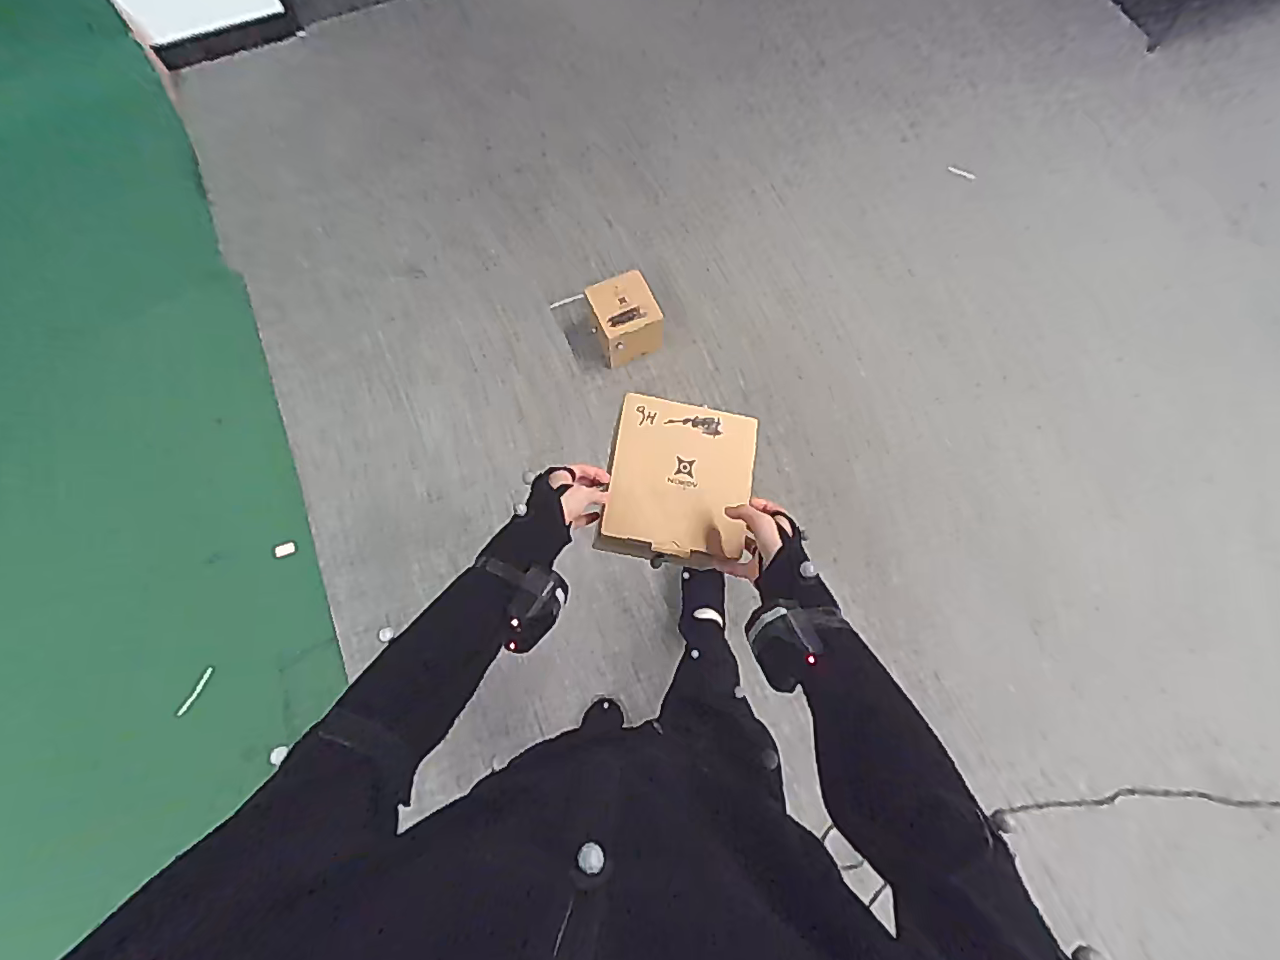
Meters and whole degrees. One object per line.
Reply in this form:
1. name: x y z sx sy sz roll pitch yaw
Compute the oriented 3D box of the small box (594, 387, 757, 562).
1. small box: 0.036 0.005 0.698 0.168 0.176 0.179 11 77 -6
